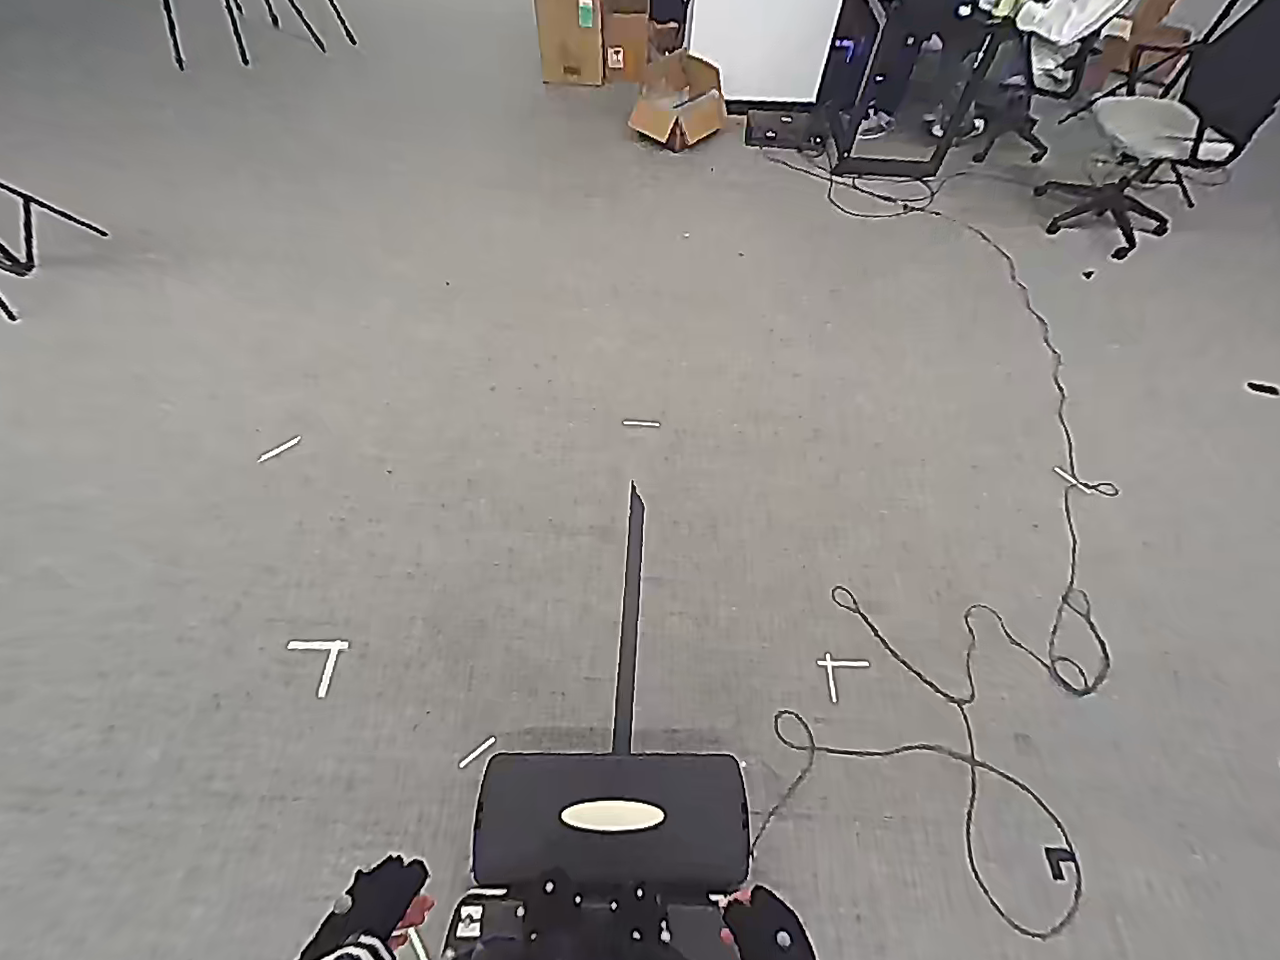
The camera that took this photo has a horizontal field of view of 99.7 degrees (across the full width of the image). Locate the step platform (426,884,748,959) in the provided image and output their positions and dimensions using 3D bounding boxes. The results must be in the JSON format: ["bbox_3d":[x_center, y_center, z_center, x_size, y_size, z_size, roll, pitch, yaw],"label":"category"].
[{"bbox_3d":[-0.109,1.054,1.156,0.684,0.204,0.286,1,57,0],"label":"step platform"}]
